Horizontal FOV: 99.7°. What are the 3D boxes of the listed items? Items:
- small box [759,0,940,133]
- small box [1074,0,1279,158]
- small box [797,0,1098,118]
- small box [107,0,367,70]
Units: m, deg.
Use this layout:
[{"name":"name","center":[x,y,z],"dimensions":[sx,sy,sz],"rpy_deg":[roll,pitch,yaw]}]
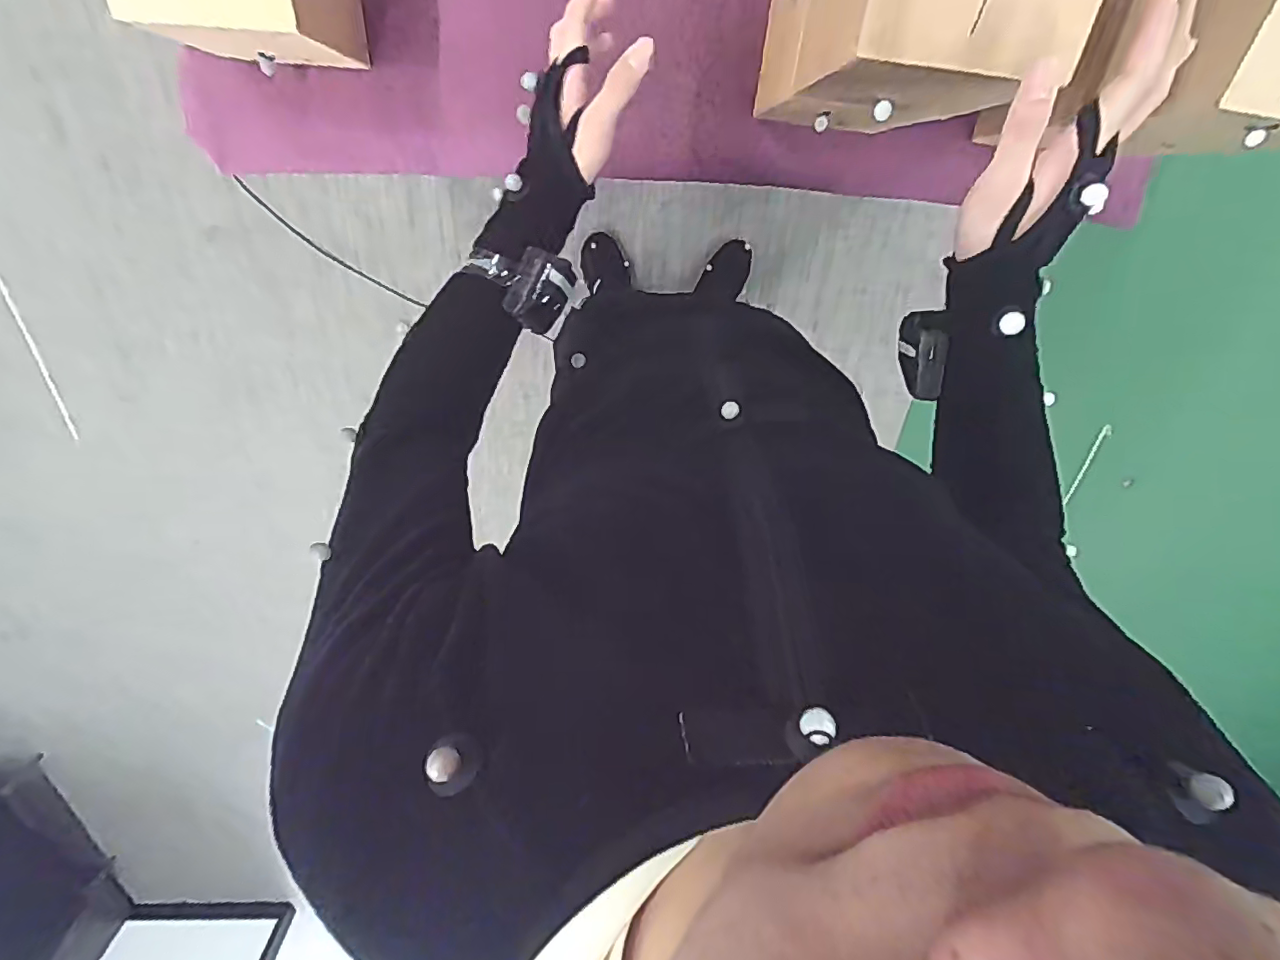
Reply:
[{"name":"small box","center":[0.233,-0.483,0.571],"dimensions":[0.168,0.176,0.179],"rpy_deg":[4,117,-4]},{"name":"small box","center":[0.519,-0.382,0.443],"dimensions":[0.168,0.176,0.179],"rpy_deg":[7,117,-4]},{"name":"small box","center":[0.238,-0.408,0.425],"dimensions":[0.168,0.176,0.179],"rpy_deg":[5,118,-4]},{"name":"small box","center":[-0.391,-0.528,0.523],"dimensions":[0.168,0.176,0.179],"rpy_deg":[3,118,-3]}]
